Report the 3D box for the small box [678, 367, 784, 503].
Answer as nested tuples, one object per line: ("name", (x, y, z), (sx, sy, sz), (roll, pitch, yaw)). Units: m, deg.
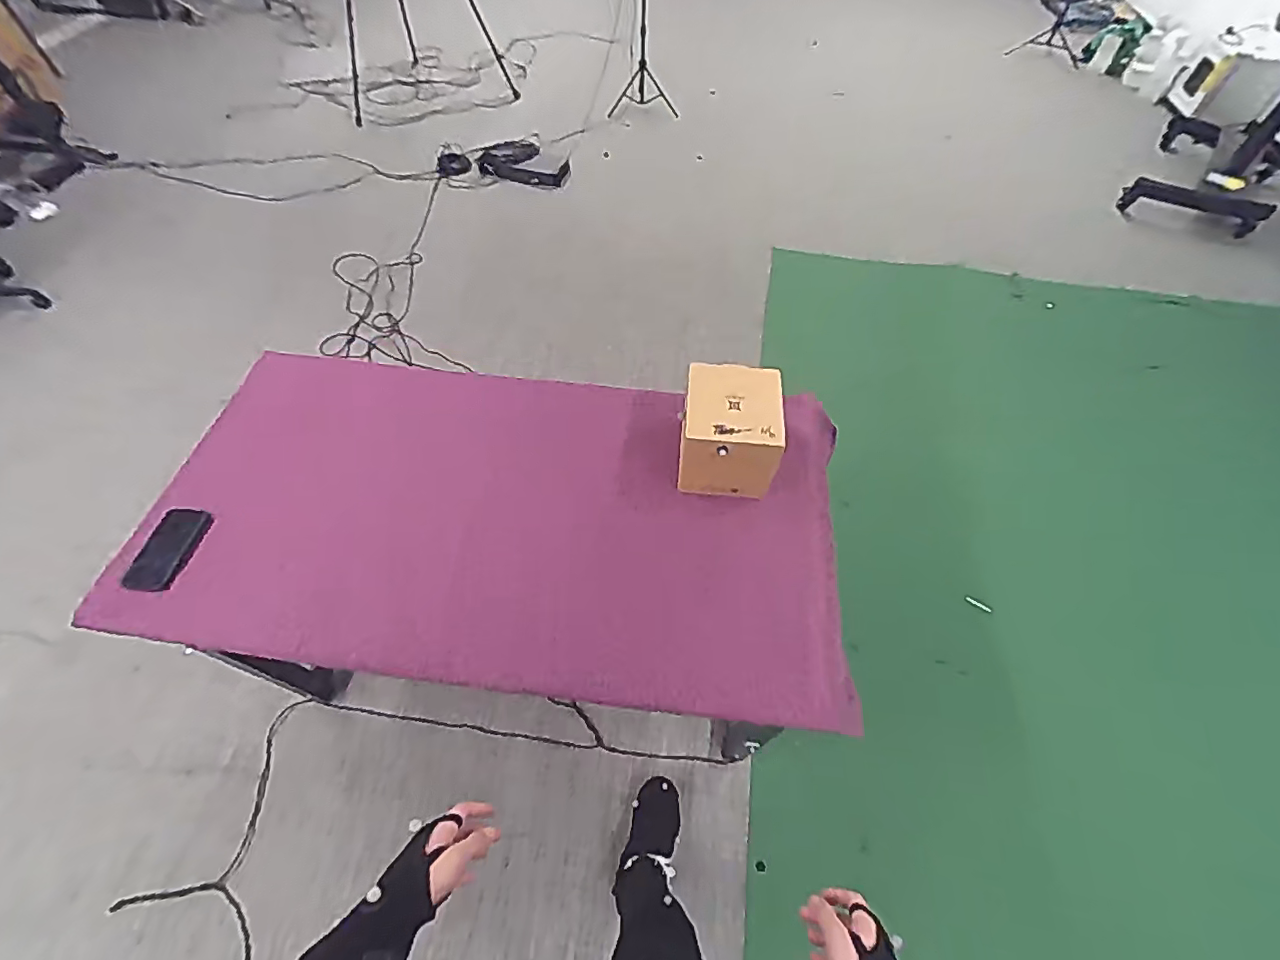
("small box", (0.159, -0.081, 0.992), (0.168, 0.176, 0.179), (5, 55, 3))
